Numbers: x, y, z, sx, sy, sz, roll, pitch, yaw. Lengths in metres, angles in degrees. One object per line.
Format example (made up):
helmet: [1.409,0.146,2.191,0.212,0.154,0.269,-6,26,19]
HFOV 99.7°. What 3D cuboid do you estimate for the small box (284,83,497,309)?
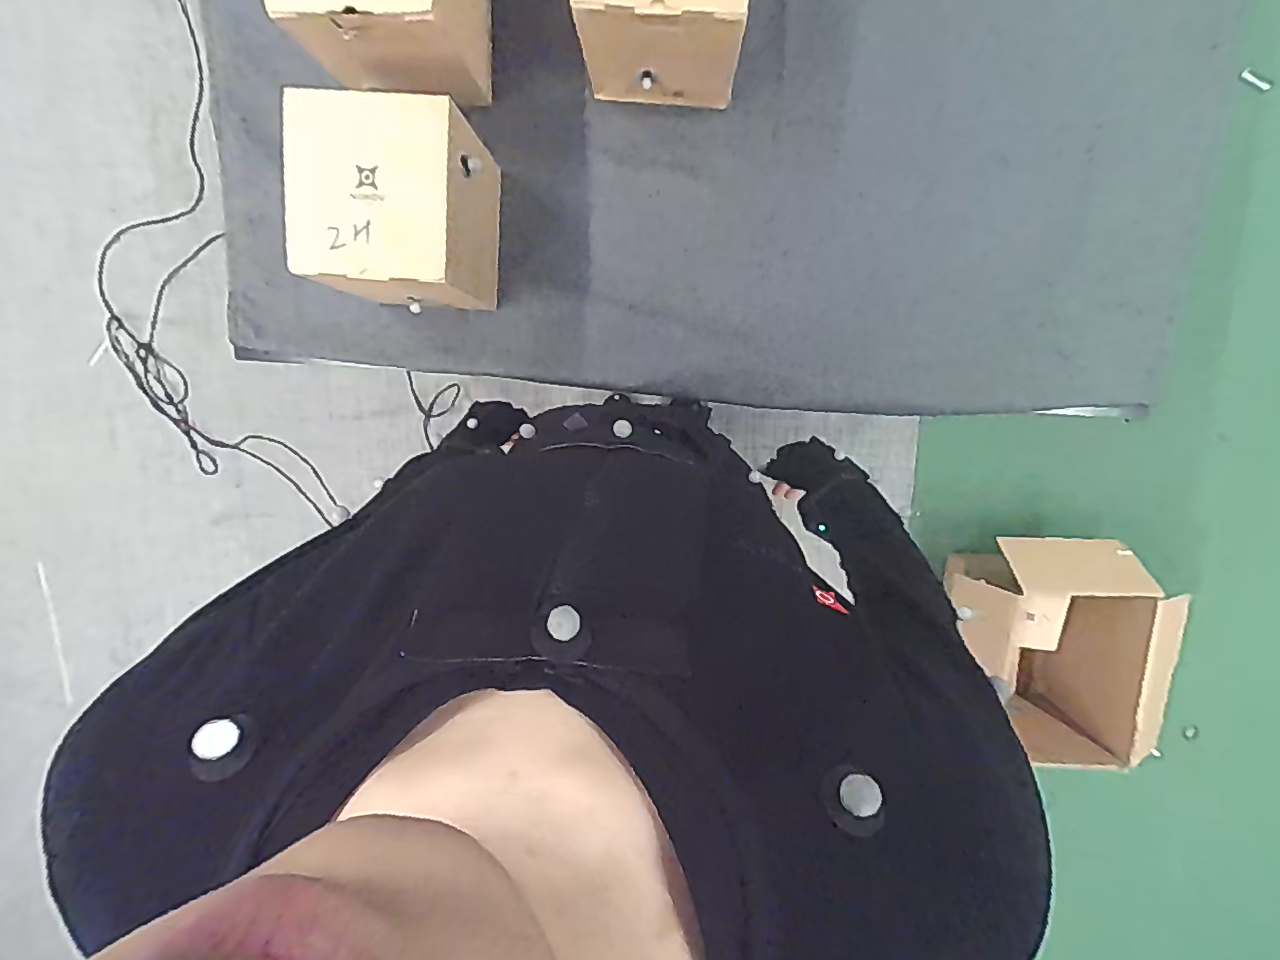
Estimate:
small box: [-0.267,-0.303,0.612,0.168,0.176,0.179,5,99,1]

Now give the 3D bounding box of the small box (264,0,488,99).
small box: [-0.266,-0.537,0.571,0.168,0.176,0.179,3,100,2]

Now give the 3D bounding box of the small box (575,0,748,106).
small box: [0.027,-0.533,0.563,0.168,0.176,0.179,5,101,1]
